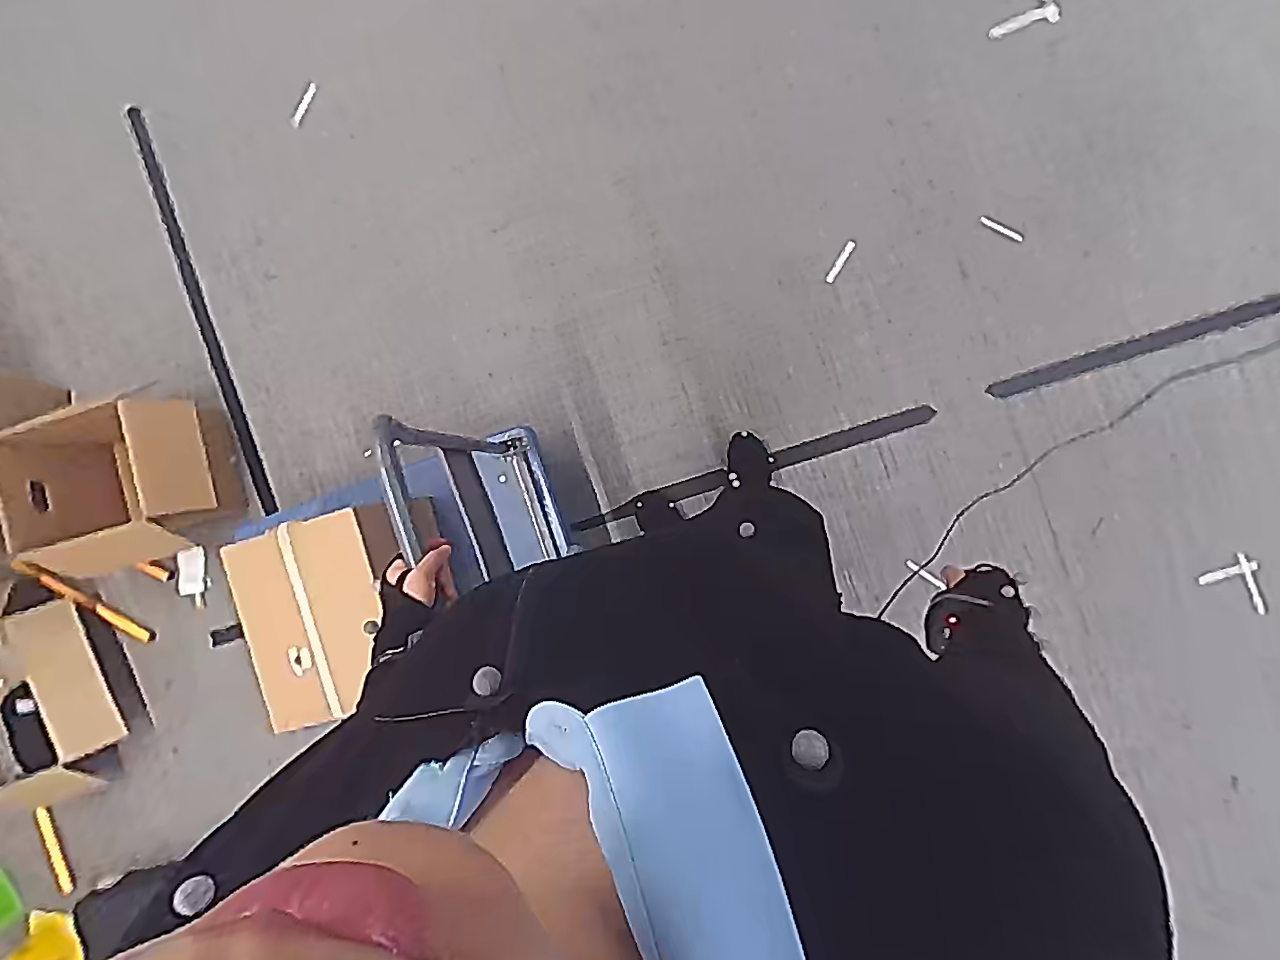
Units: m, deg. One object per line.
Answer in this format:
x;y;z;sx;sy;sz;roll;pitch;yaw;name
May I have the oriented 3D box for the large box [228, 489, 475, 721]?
-0.637;0.263;1.253;0.320;0.320;0.408;-17;91;7;large box
